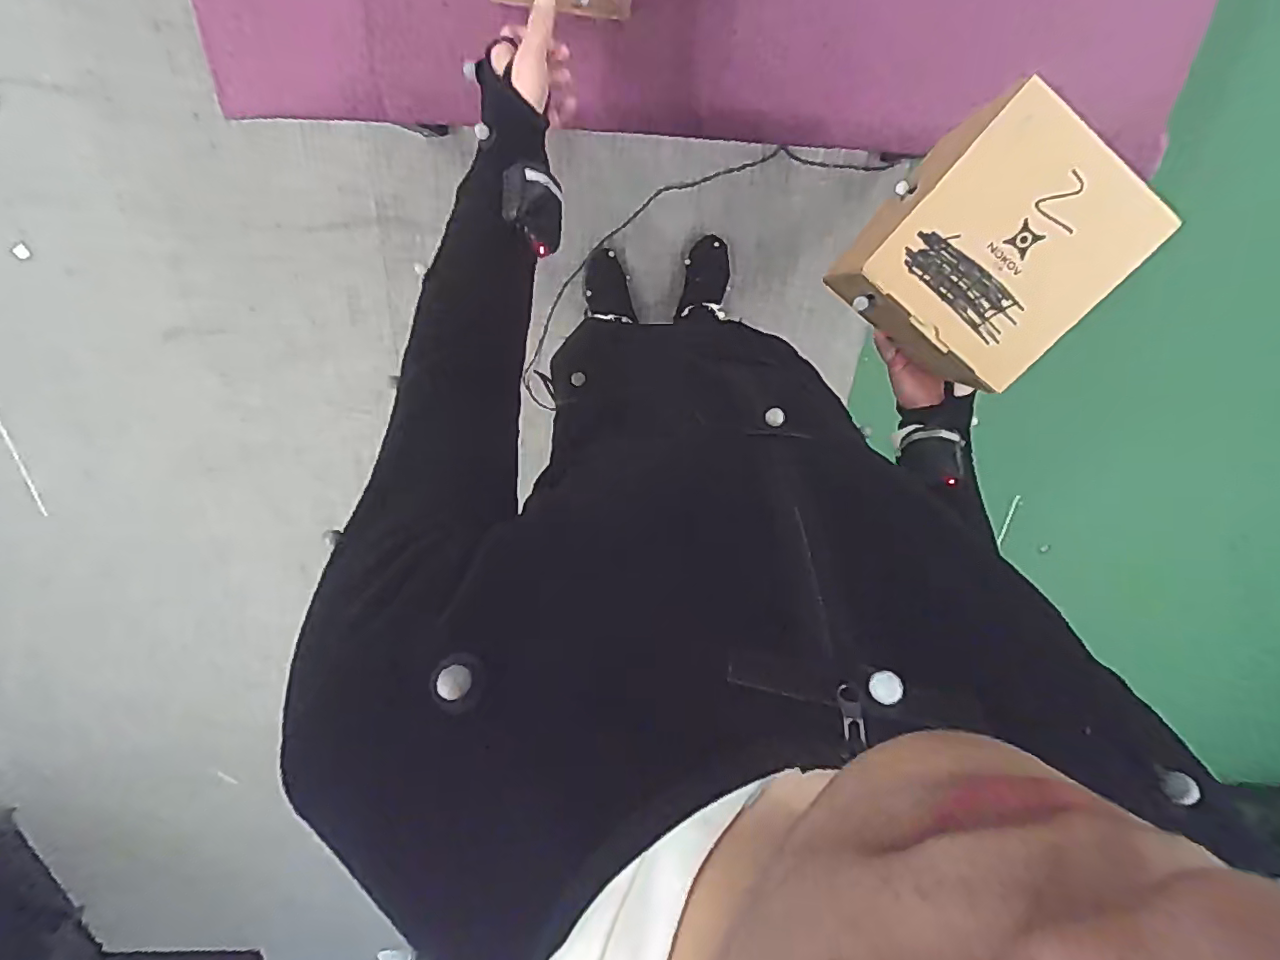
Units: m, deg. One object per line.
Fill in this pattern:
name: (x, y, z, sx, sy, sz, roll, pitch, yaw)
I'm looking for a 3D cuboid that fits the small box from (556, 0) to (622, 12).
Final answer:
small box: (-0.089, -0.601, 0.530, 0.168, 0.176, 0.179, 5, 116, -6)
